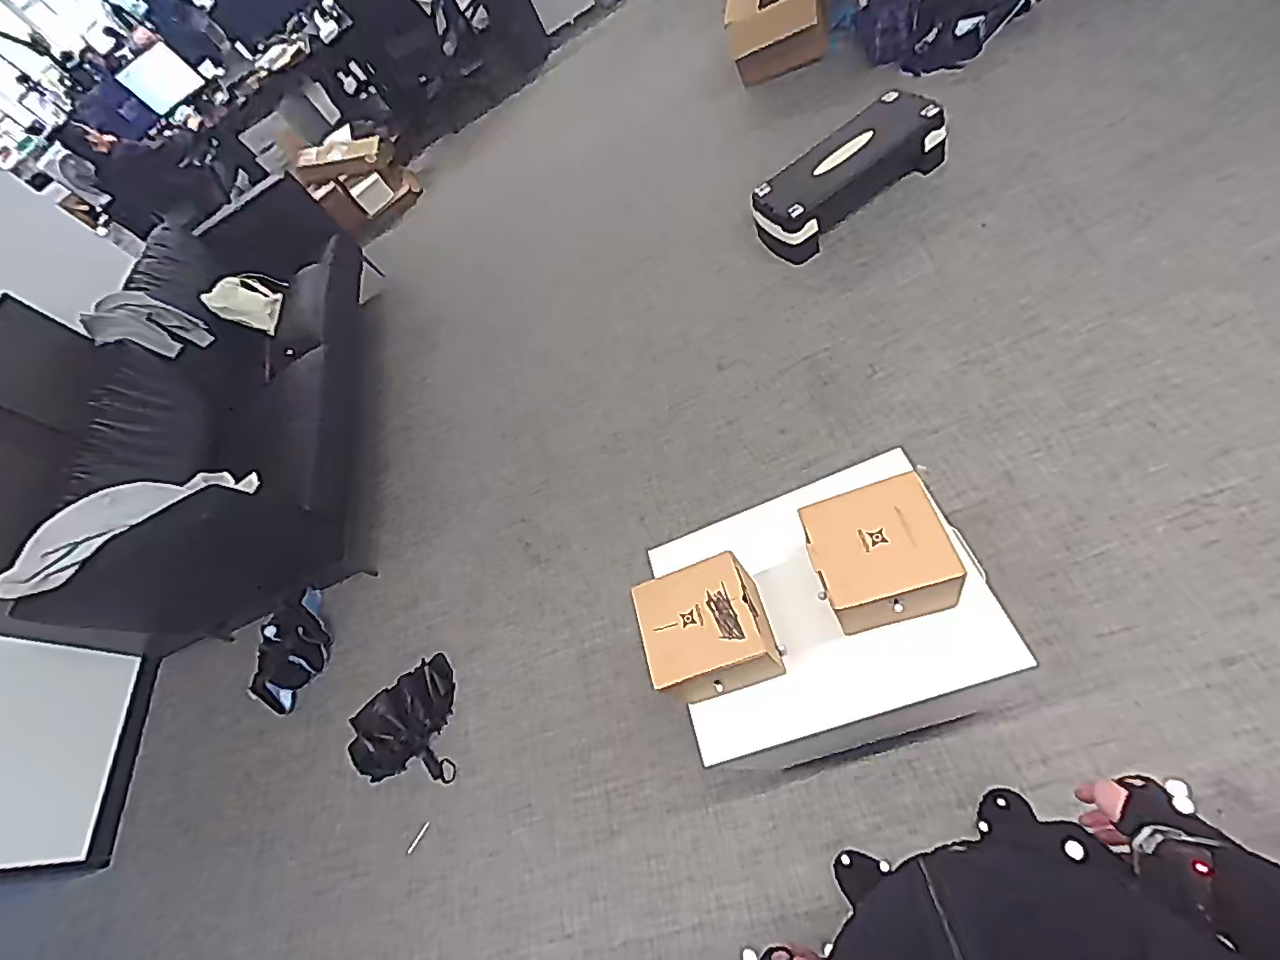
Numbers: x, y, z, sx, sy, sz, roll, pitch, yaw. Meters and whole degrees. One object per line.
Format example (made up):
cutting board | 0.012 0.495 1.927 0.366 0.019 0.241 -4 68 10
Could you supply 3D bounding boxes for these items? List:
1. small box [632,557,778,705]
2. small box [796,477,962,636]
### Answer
small box | 0.111 0.250 0.874 0.179 0.176 0.168 -24 54 13
small box | 0.359 0.126 0.824 0.179 0.176 0.168 -20 57 15
